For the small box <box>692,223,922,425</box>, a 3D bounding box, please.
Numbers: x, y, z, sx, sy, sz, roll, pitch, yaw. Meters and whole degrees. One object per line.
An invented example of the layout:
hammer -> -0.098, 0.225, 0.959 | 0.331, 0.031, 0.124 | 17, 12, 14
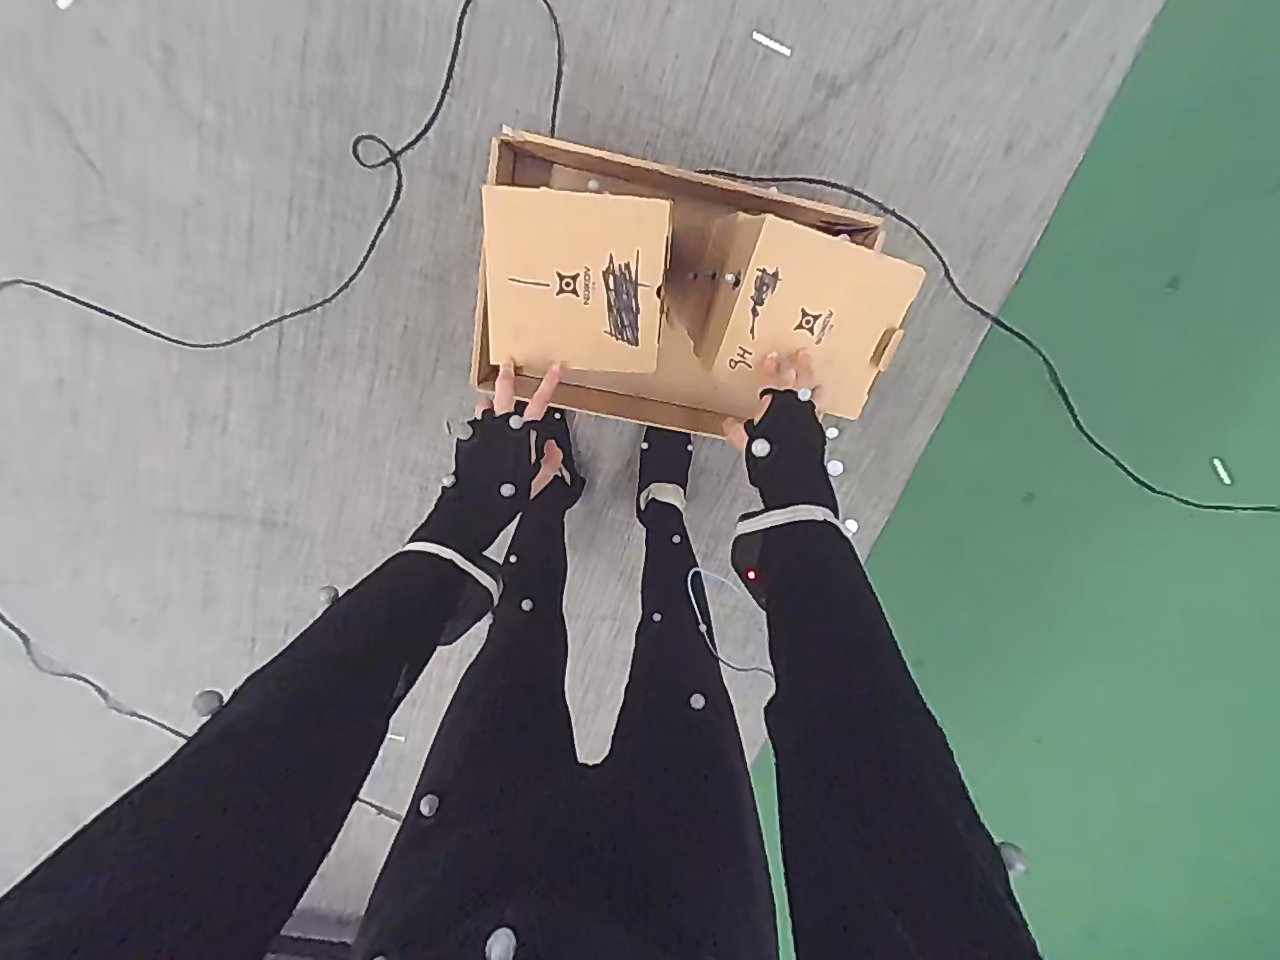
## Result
small box -> 0.173, -0.184, 0.626 | 0.179, 0.176, 0.168 | 15, 111, -8

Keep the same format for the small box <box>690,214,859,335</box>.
small box -> 0.175, -0.260, 0.771 | 0.168, 0.176, 0.179 | 13, 112, -6

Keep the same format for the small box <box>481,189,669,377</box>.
small box -> -0.069, -0.220, 0.601 | 0.179, 0.176, 0.168 | 3, 114, -4
